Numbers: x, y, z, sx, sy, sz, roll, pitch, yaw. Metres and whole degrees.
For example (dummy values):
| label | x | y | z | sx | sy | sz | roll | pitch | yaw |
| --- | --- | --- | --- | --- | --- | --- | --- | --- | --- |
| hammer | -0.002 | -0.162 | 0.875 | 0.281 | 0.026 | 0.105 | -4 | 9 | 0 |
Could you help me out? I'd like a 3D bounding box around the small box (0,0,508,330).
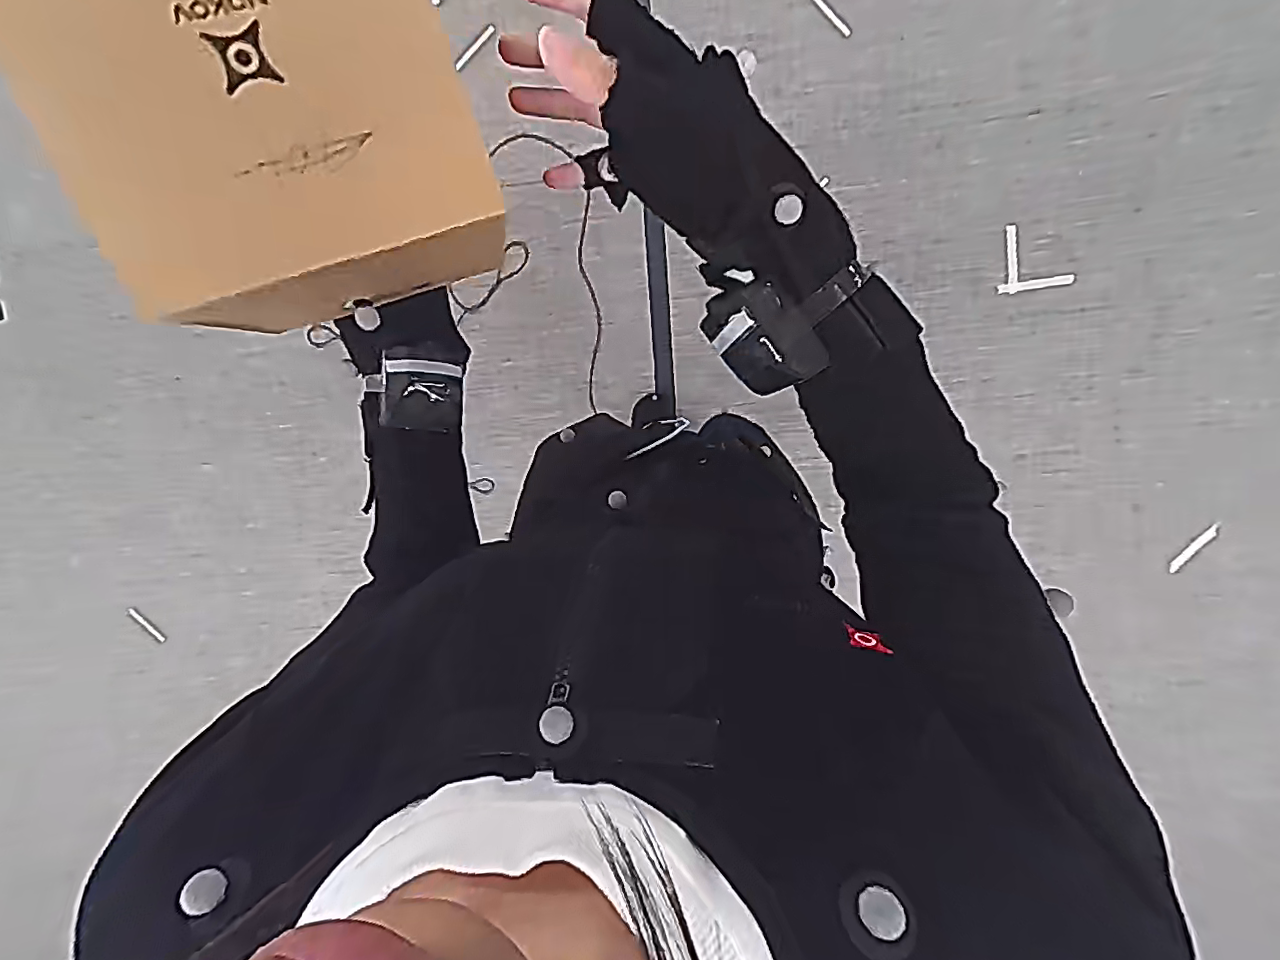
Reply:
| label | x | y | z | sx | sy | sz | roll | pitch | yaw |
| --- | --- | --- | --- | --- | --- | --- | --- | --- | --- |
| small box | -0.188 | -0.198 | 0.312 | 0.168 | 0.176 | 0.179 | -22 | 107 | -9 |
